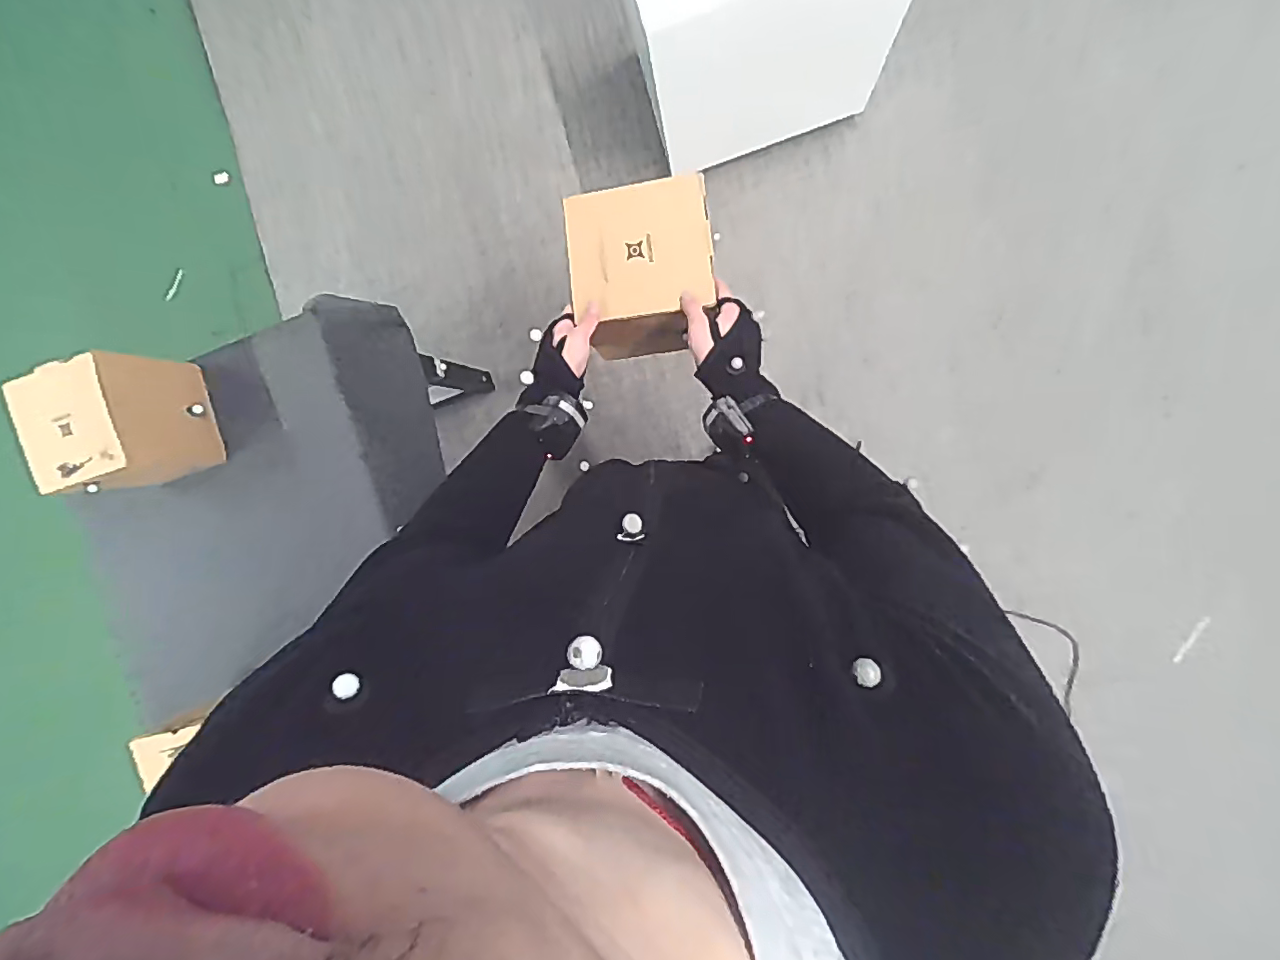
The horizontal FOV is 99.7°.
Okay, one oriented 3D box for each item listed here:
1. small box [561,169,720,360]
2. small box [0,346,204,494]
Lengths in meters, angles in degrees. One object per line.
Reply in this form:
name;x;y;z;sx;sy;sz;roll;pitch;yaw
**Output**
small box;0.009;-0.269;0.714;0.179;0.176;0.168;-7;85;8
small box;-0.831;-0.086;0.832;0.168;0.176;0.179;-15;92;8
